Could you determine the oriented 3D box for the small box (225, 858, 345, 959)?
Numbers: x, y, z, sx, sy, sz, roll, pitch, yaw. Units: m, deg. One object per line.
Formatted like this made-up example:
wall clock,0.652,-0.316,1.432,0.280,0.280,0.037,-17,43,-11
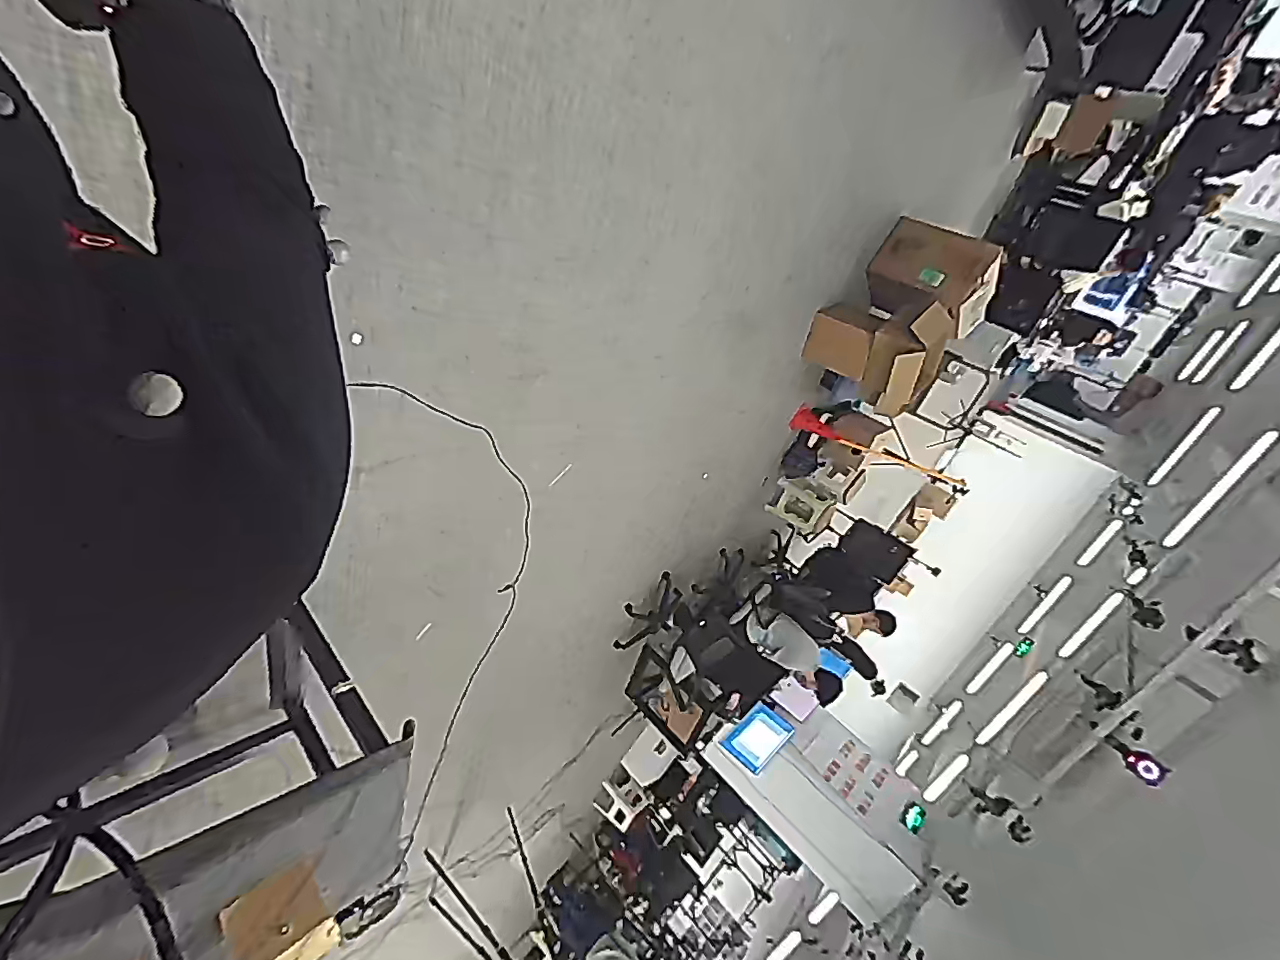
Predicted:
small box,-0.808,1.022,1.237,0.179,0.176,0.168,-23,137,-40
